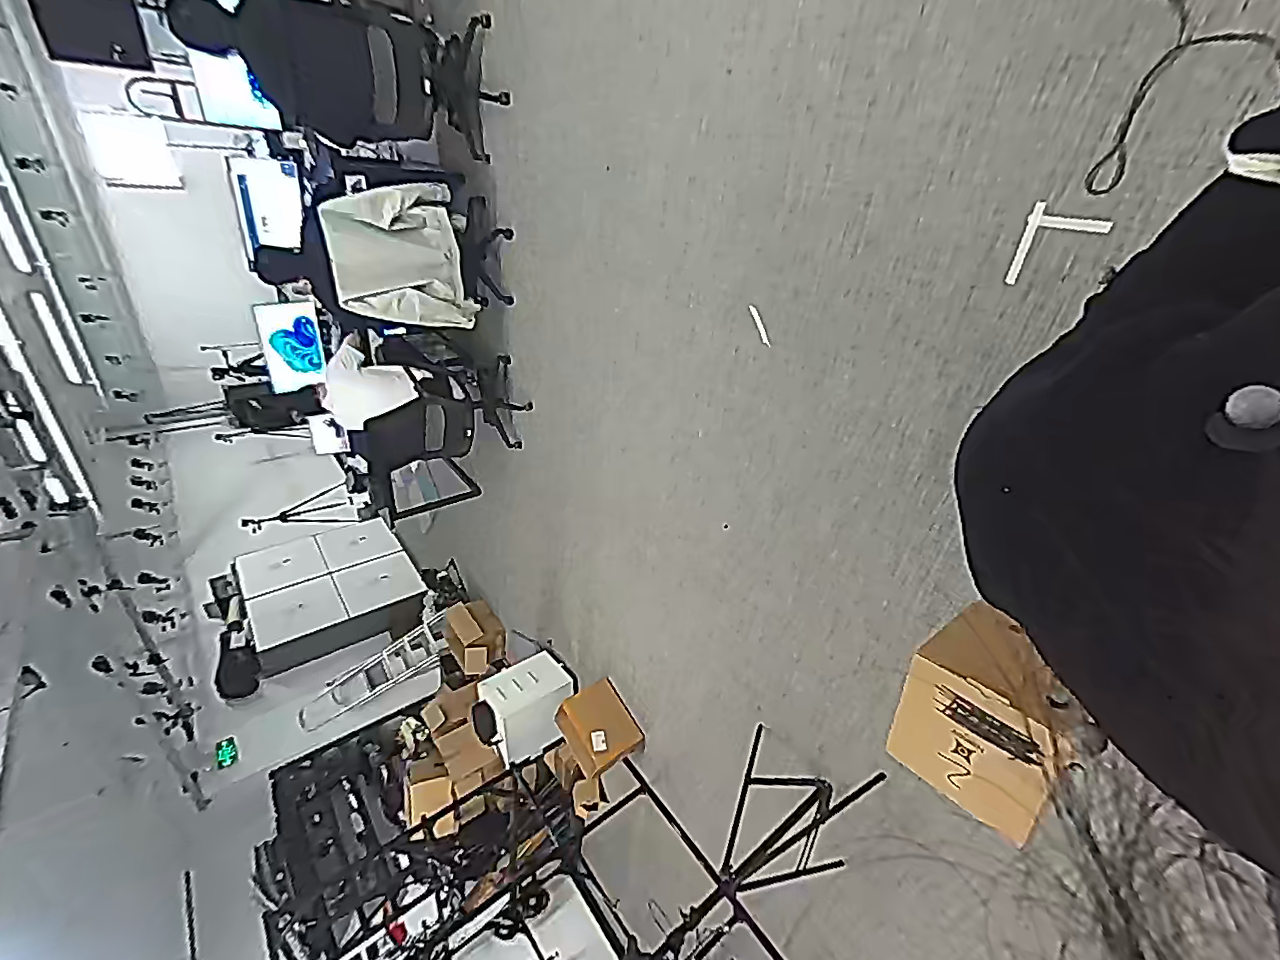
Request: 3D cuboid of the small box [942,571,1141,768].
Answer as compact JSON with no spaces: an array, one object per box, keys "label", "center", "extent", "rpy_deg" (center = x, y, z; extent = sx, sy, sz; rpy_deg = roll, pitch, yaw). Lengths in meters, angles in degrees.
[{"label":"small box","center":[0.576,0.256,0.779],"extent":[0.168,0.176,0.179],"rpy_deg":[30,127,45]}]
